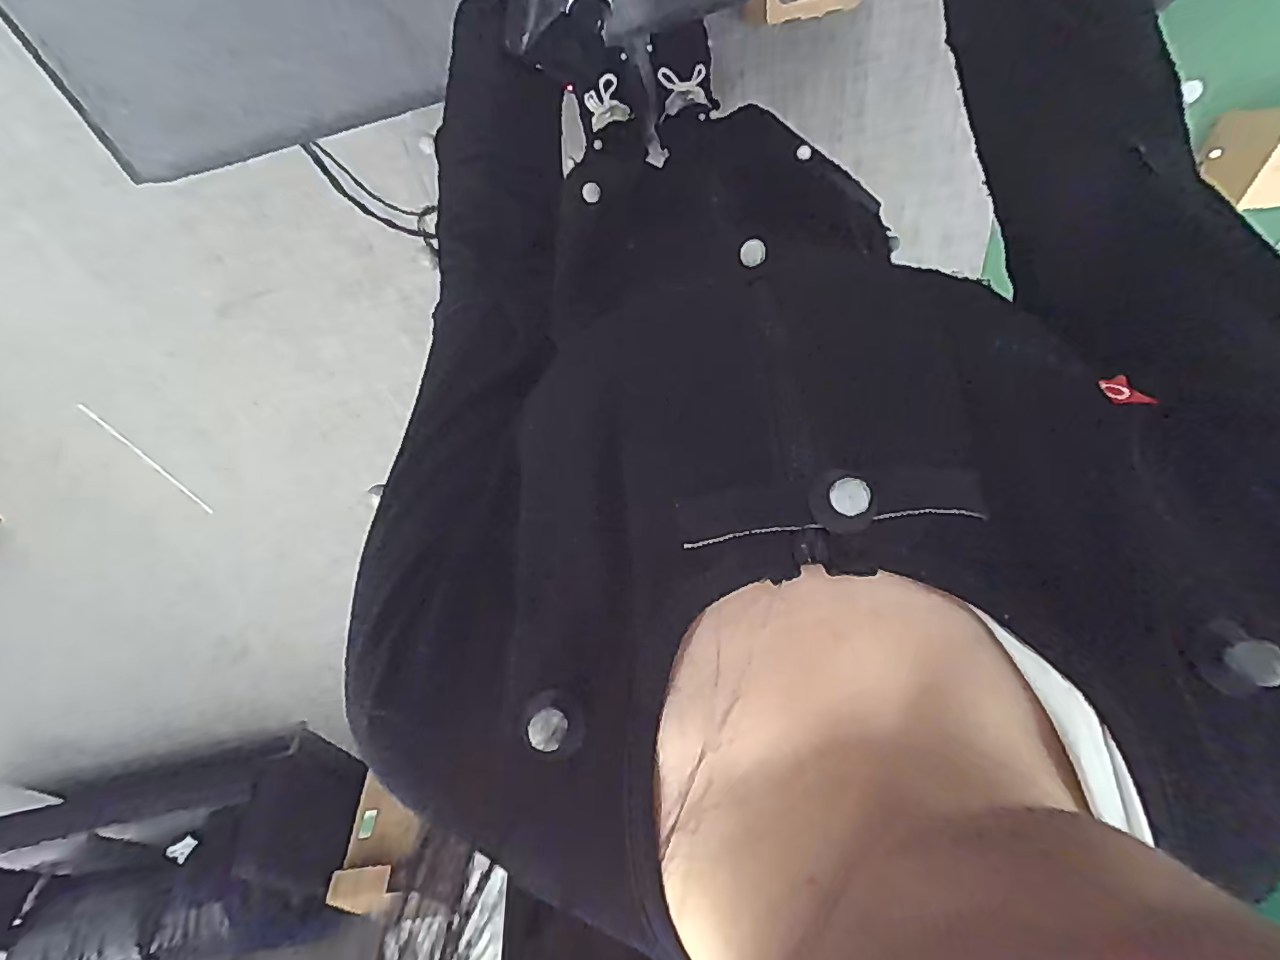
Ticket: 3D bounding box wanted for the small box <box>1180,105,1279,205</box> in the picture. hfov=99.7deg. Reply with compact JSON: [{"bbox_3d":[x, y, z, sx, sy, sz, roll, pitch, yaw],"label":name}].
[{"bbox_3d":[1.434,-0.749,1.243,0.179,0.176,0.168,-4,133,-1],"label":"small box"}]
